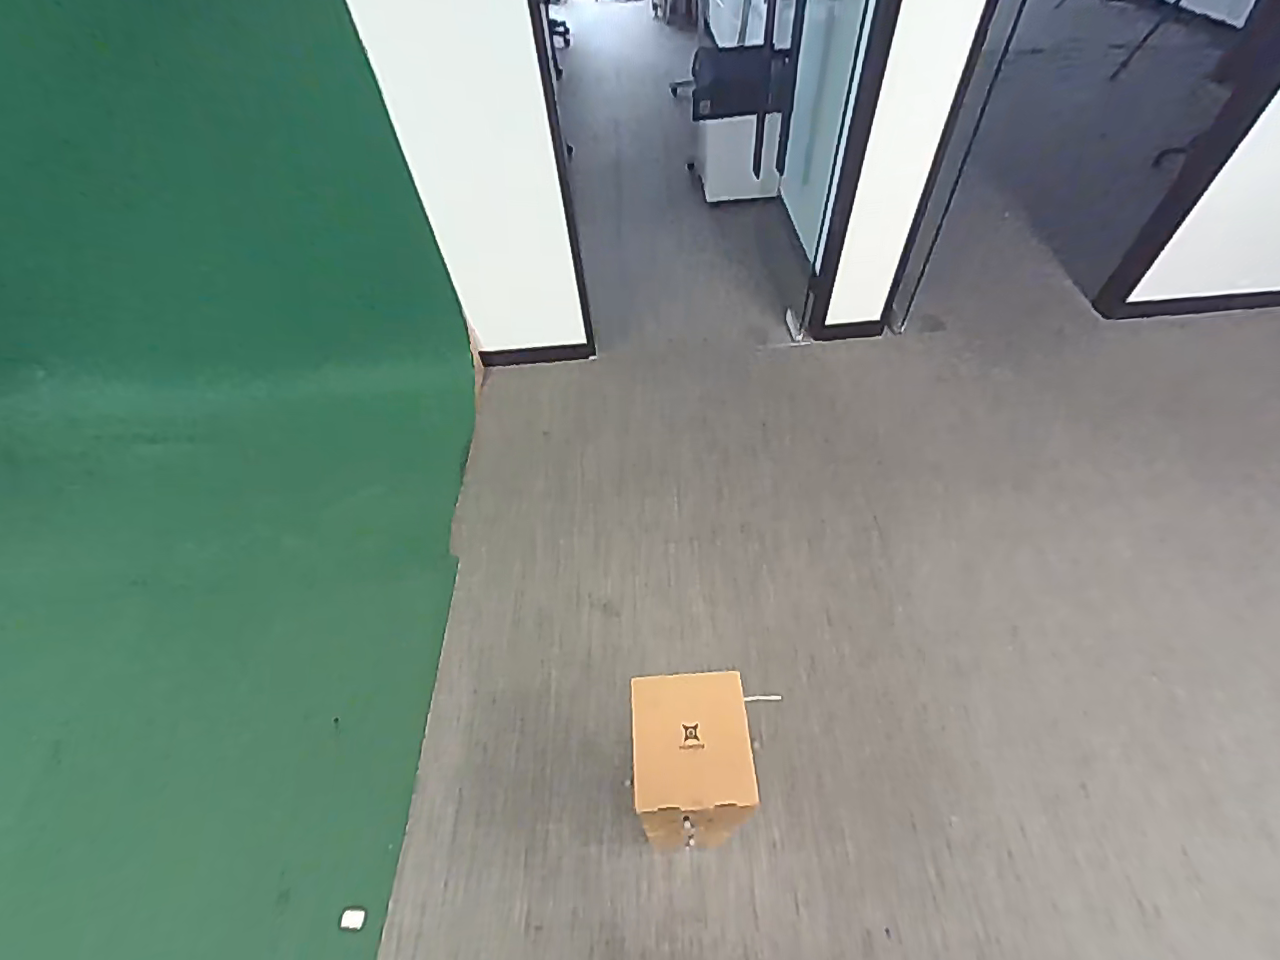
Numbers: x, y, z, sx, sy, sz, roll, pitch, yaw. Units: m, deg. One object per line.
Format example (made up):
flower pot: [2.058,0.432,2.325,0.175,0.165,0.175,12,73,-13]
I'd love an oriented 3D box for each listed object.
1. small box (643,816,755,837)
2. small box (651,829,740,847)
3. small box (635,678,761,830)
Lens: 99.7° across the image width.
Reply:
small box: [0.093,0.518,0.949,0.179,0.176,0.168,-6,52,1]
small box: [0.097,0.616,1.081,0.168,0.176,0.179,-7,52,0]
small box: [0.080,0.418,0.821,0.168,0.176,0.179,-4,53,2]
